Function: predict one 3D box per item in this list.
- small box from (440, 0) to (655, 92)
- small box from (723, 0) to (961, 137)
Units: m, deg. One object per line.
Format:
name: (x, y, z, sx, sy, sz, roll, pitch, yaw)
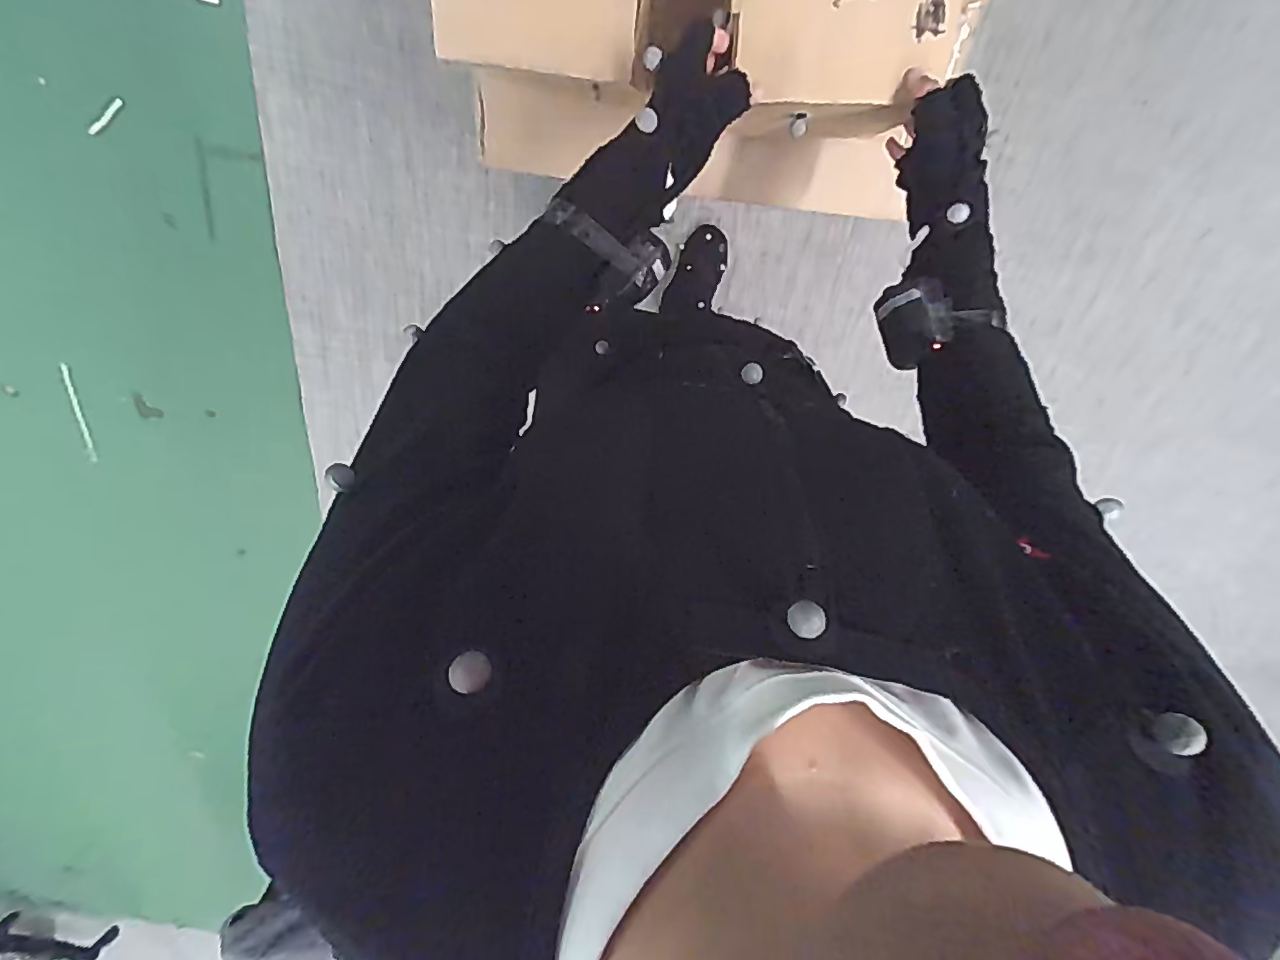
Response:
small box: (-0.073, -0.469, 0.497, 0.179, 0.176, 0.168, 7, 123, 0)
small box: (0.173, -0.426, 0.496, 0.179, 0.176, 0.168, 3, 114, 3)
